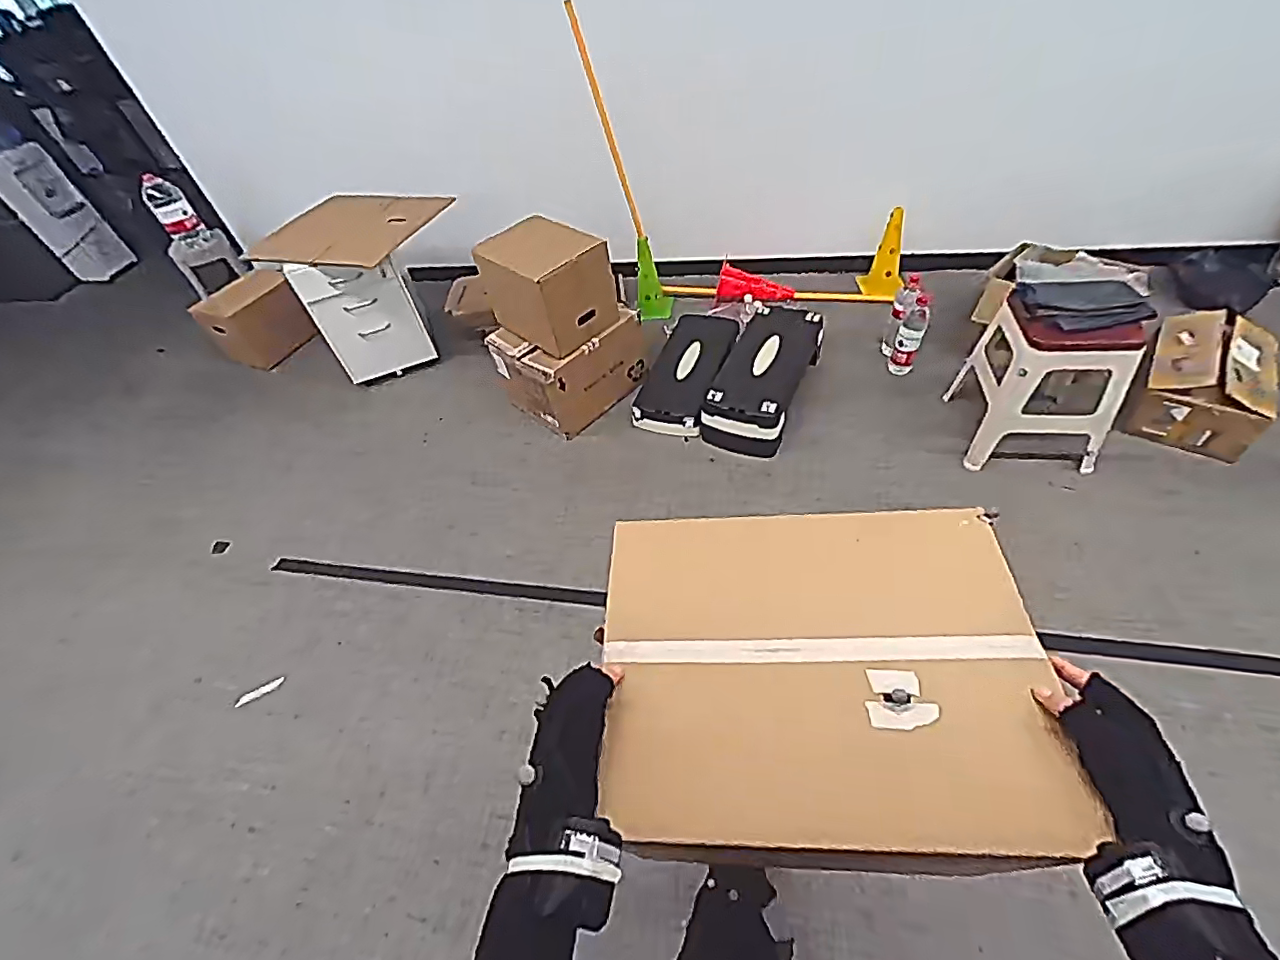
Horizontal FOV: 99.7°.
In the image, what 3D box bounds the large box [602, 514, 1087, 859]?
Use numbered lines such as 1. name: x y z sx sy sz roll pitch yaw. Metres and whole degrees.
1. large box: 0.182 0.262 0.657 0.408 0.320 0.320 -3 53 7
